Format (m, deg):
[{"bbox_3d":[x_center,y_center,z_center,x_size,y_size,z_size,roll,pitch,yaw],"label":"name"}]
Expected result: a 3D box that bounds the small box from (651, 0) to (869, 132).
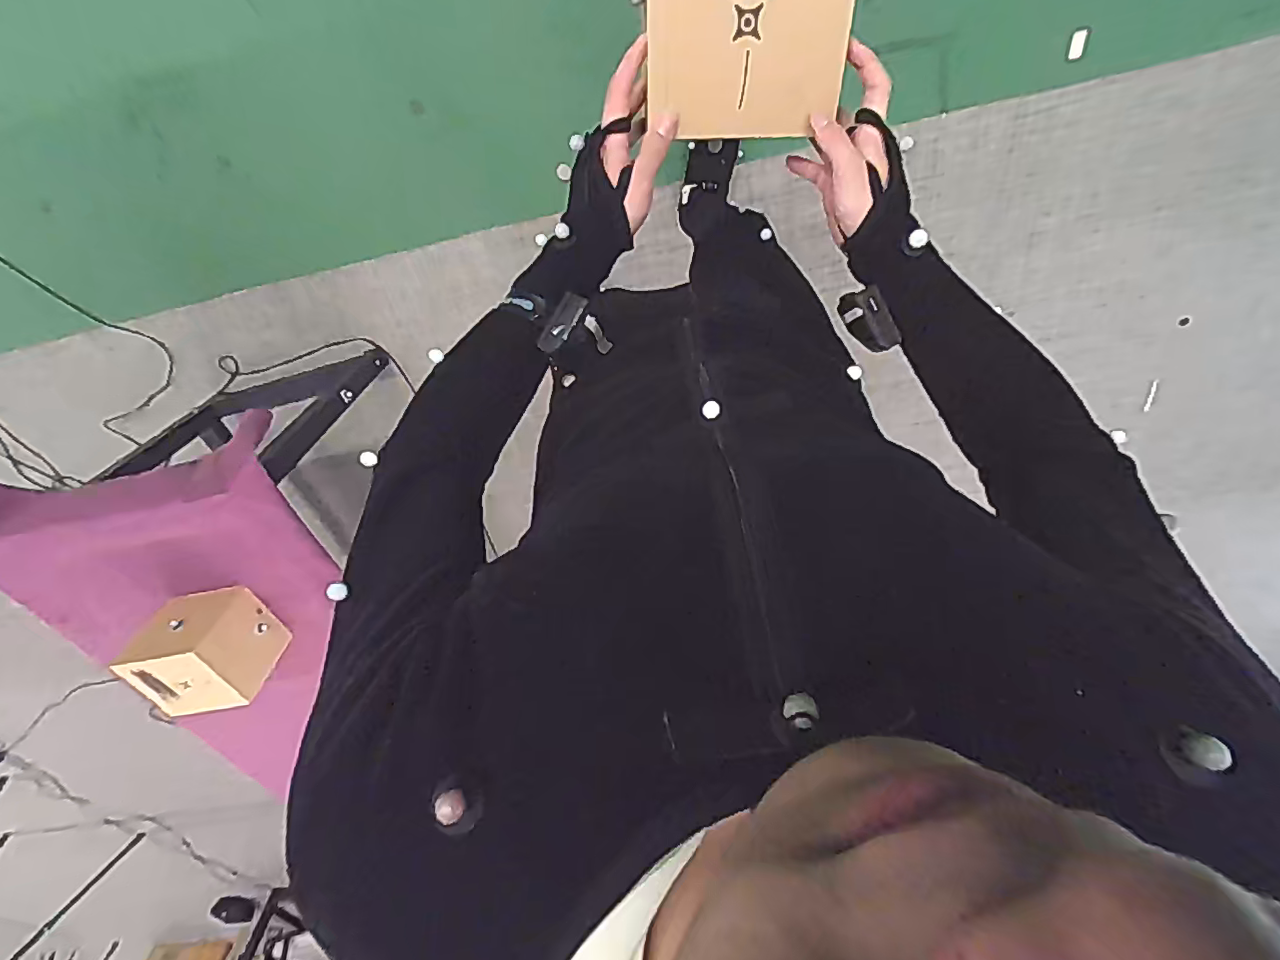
[{"bbox_3d":[0.095,-0.419,0.486,0.168,0.176,0.179,-1,125,-1],"label":"small box"}]
